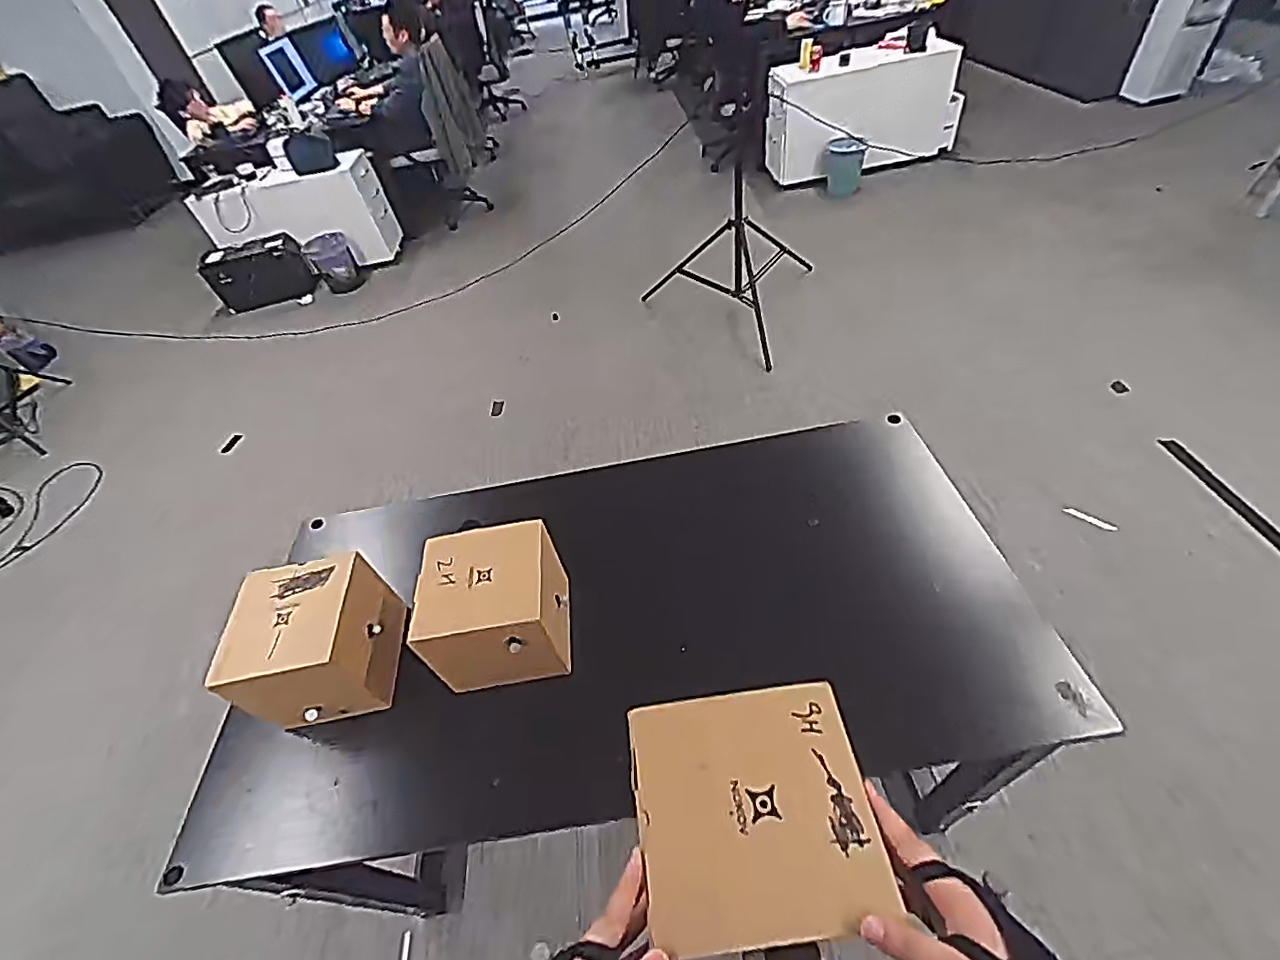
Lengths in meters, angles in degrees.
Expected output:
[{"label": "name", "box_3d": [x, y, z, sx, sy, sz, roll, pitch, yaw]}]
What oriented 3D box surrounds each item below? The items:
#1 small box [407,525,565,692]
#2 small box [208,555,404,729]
[{"label": "small box", "box_3d": [-0.209, 0.191, 0.794, 0.179, 0.176, 0.168, -10, 47, 1]}, {"label": "small box", "box_3d": [-0.471, 0.241, 0.800, 0.168, 0.176, 0.179, -12, 48, 0]}]
